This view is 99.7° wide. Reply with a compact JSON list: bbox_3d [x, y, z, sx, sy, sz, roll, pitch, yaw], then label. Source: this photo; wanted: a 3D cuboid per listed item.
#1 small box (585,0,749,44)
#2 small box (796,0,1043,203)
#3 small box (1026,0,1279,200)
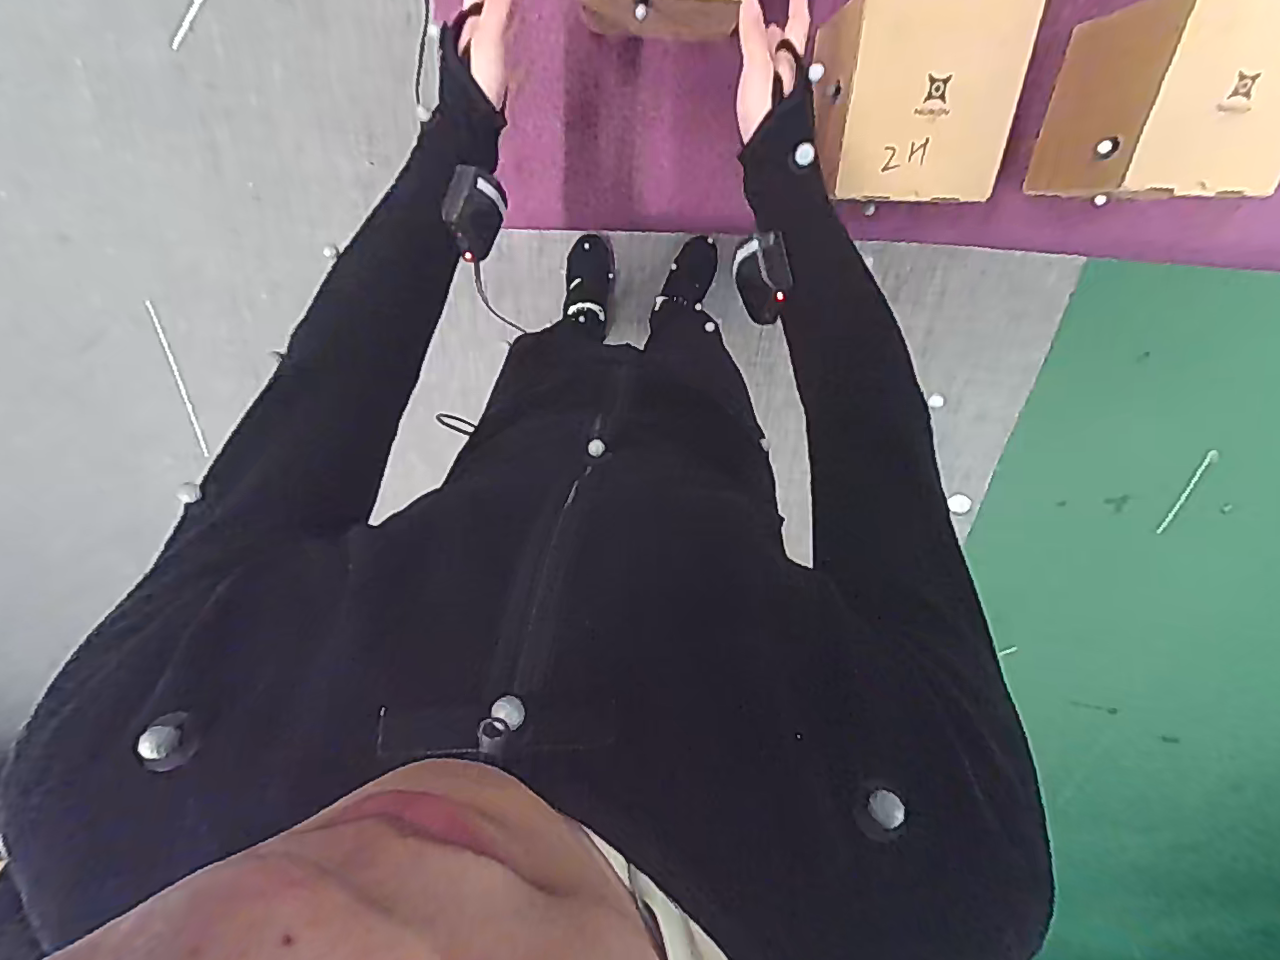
[{"bbox_3d":[0.027,-0.554,0.518,0.168,0.176,0.179,4,119,-1],"label":"small box"},{"bbox_3d":[0.284,-0.410,0.600,0.168,0.176,0.179,2,118,-1],"label":"small box"},{"bbox_3d":[0.581,-0.415,0.601,0.168,0.176,0.179,2,119,-1],"label":"small box"}]
